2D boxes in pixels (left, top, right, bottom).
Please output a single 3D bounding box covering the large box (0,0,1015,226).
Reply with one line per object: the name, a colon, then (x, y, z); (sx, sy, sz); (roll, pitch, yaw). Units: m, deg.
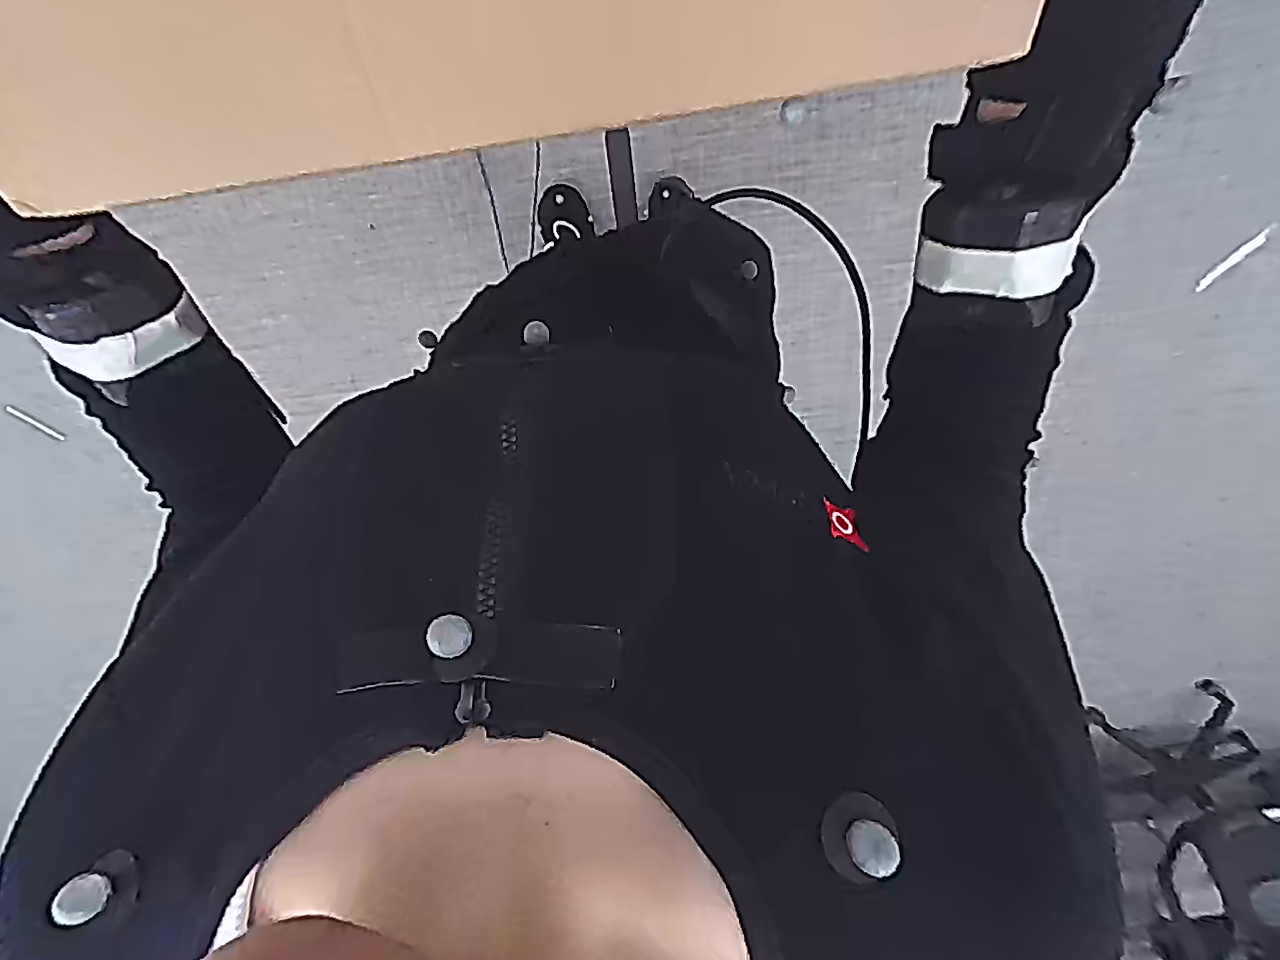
large box: (-0.080, -0.348, 0.241); (0.408, 0.320, 0.320); (-6, 128, 5)
